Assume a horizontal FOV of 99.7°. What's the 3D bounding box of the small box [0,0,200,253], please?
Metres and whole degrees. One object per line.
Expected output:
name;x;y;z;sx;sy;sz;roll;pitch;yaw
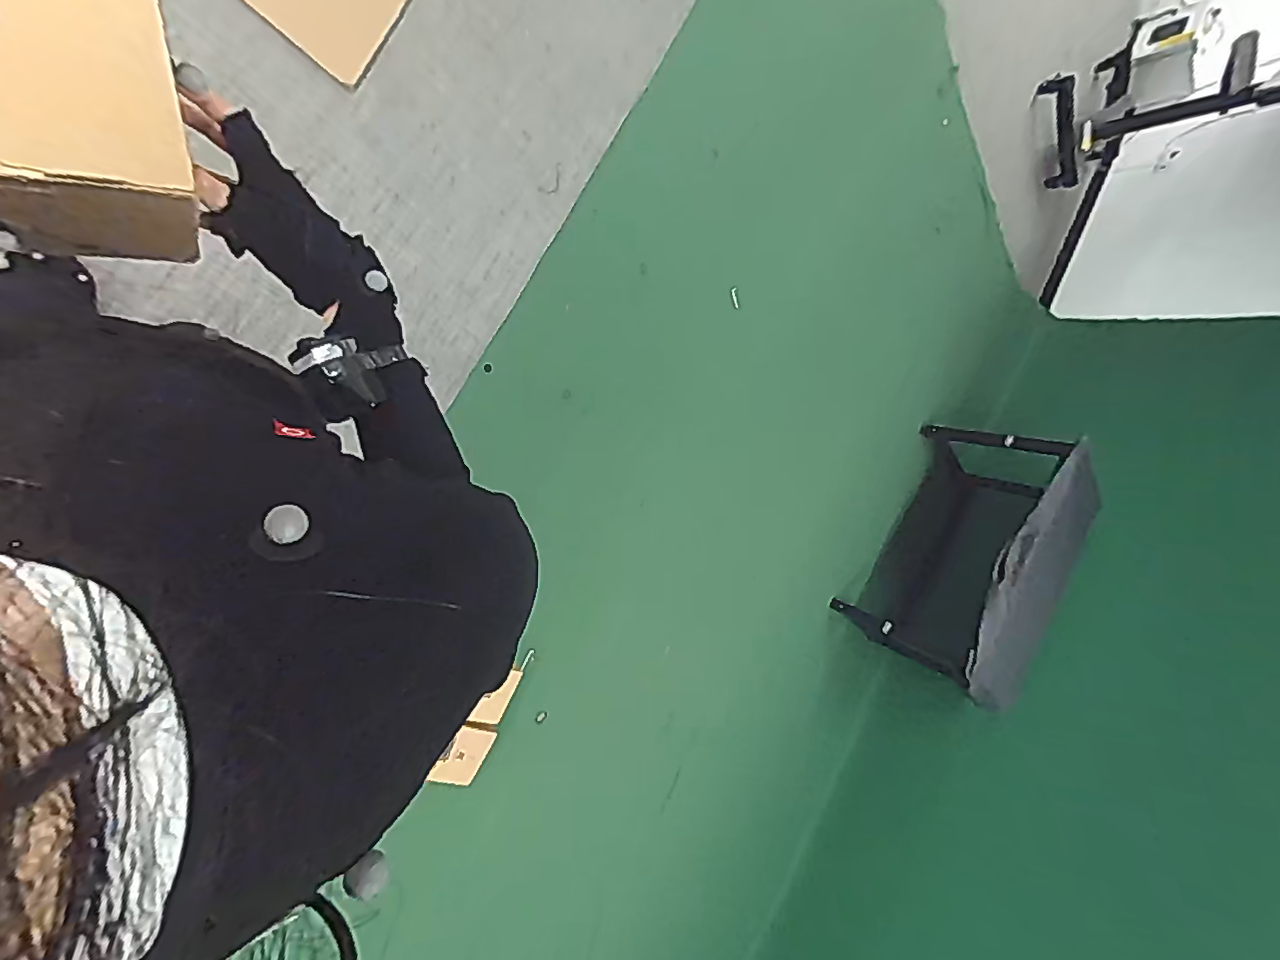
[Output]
small box;-0.370;-0.243;0.302;0.168;0.176;0.179;-13;105;-38
